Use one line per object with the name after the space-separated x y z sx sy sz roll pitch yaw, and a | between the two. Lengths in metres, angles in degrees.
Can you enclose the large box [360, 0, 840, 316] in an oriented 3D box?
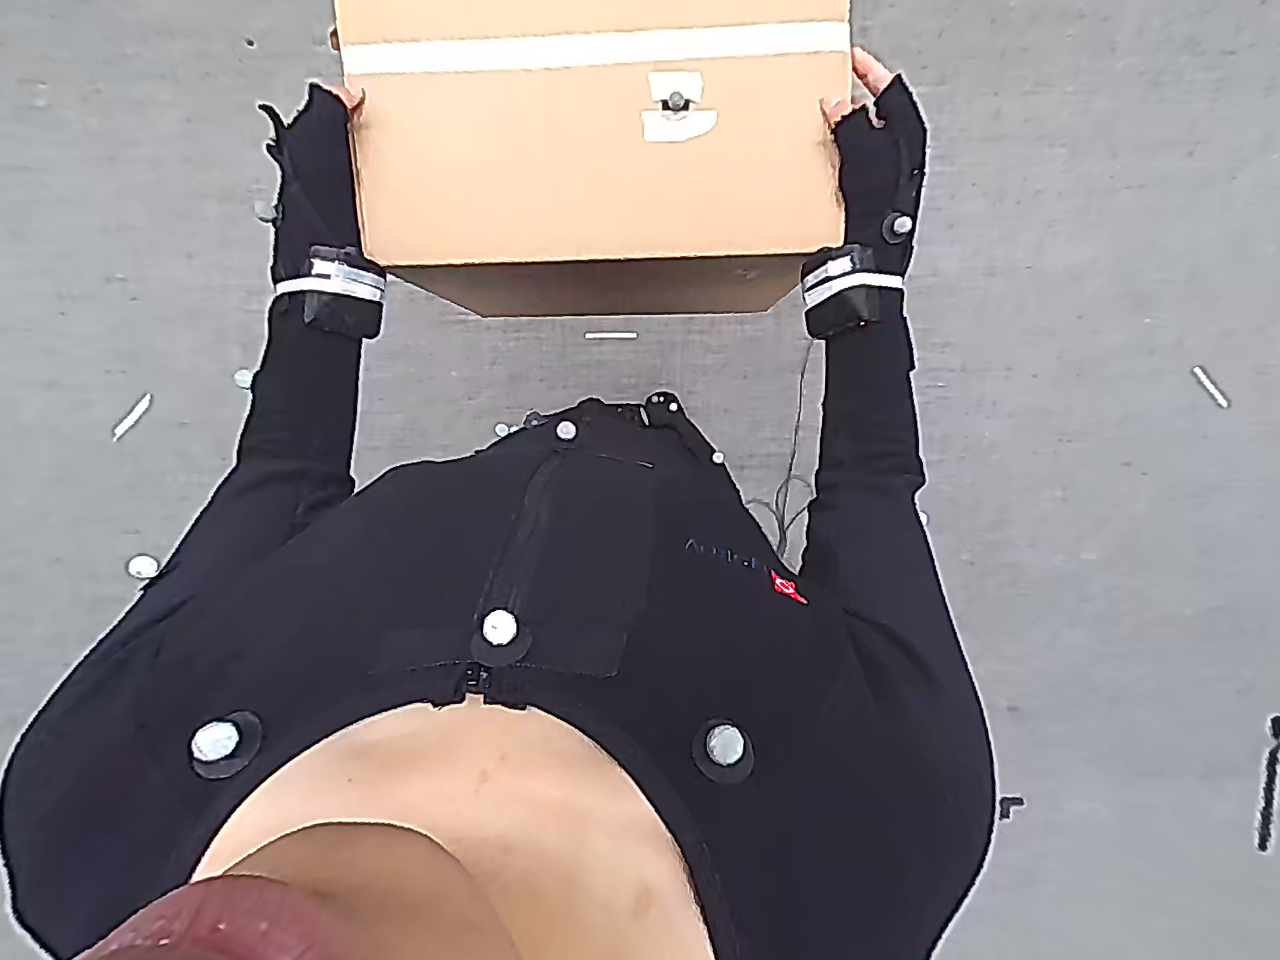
-0.032 -0.370 0.597 0.408 0.320 0.320 -1 99 1 | large box
